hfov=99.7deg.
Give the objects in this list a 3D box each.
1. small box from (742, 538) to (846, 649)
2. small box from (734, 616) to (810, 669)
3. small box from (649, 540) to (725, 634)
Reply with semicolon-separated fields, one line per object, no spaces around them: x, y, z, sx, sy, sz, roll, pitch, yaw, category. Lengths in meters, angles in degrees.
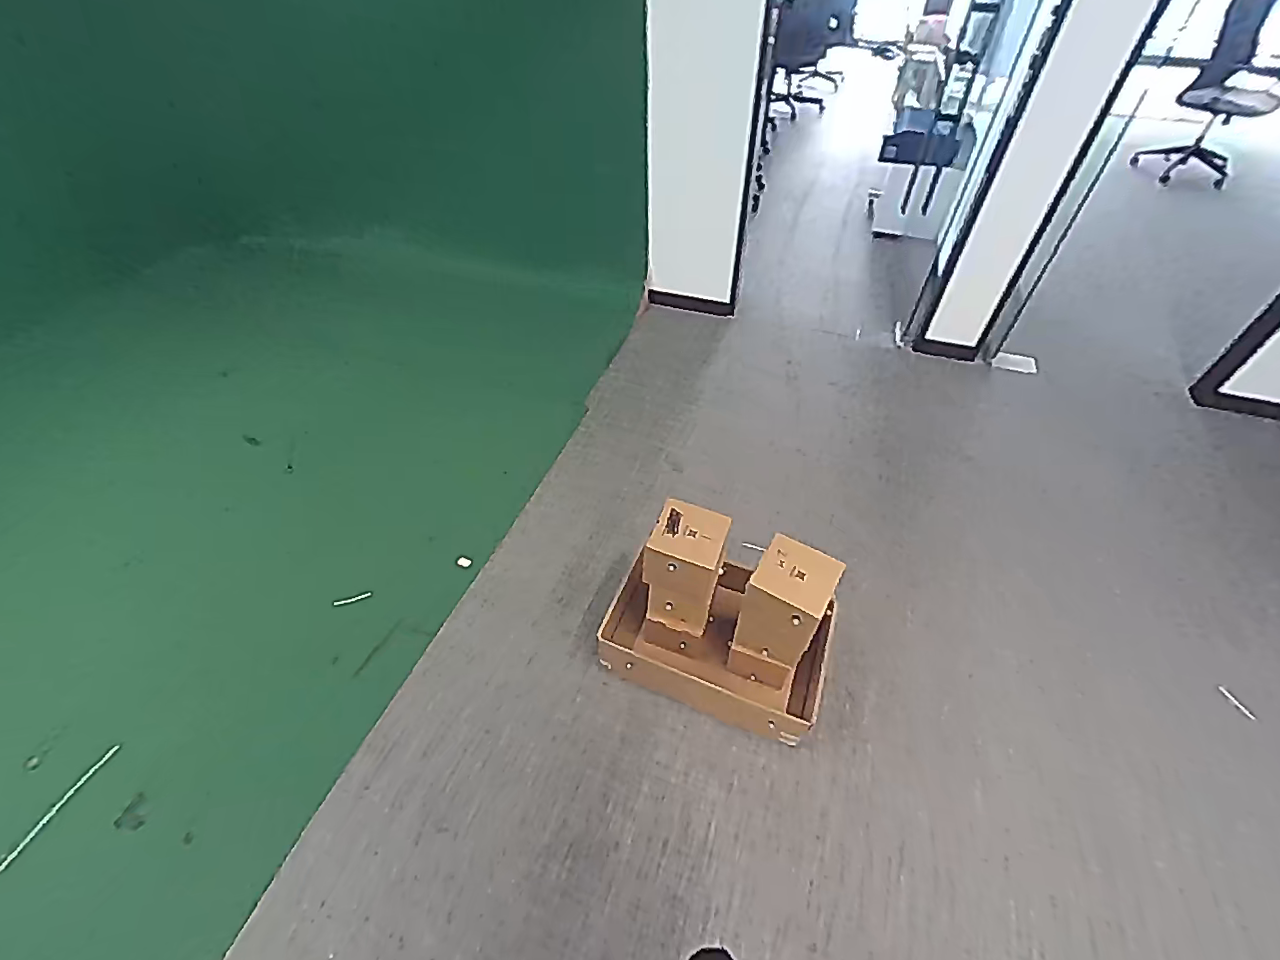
0.362;0.278;1.291;0.179;0.176;0.168;25;54;22;small box
0.362;0.374;1.426;0.179;0.176;0.168;19;52;17;small box
0.129;0.301;1.503;0.168;0.176;0.179;16;51;12;small box
